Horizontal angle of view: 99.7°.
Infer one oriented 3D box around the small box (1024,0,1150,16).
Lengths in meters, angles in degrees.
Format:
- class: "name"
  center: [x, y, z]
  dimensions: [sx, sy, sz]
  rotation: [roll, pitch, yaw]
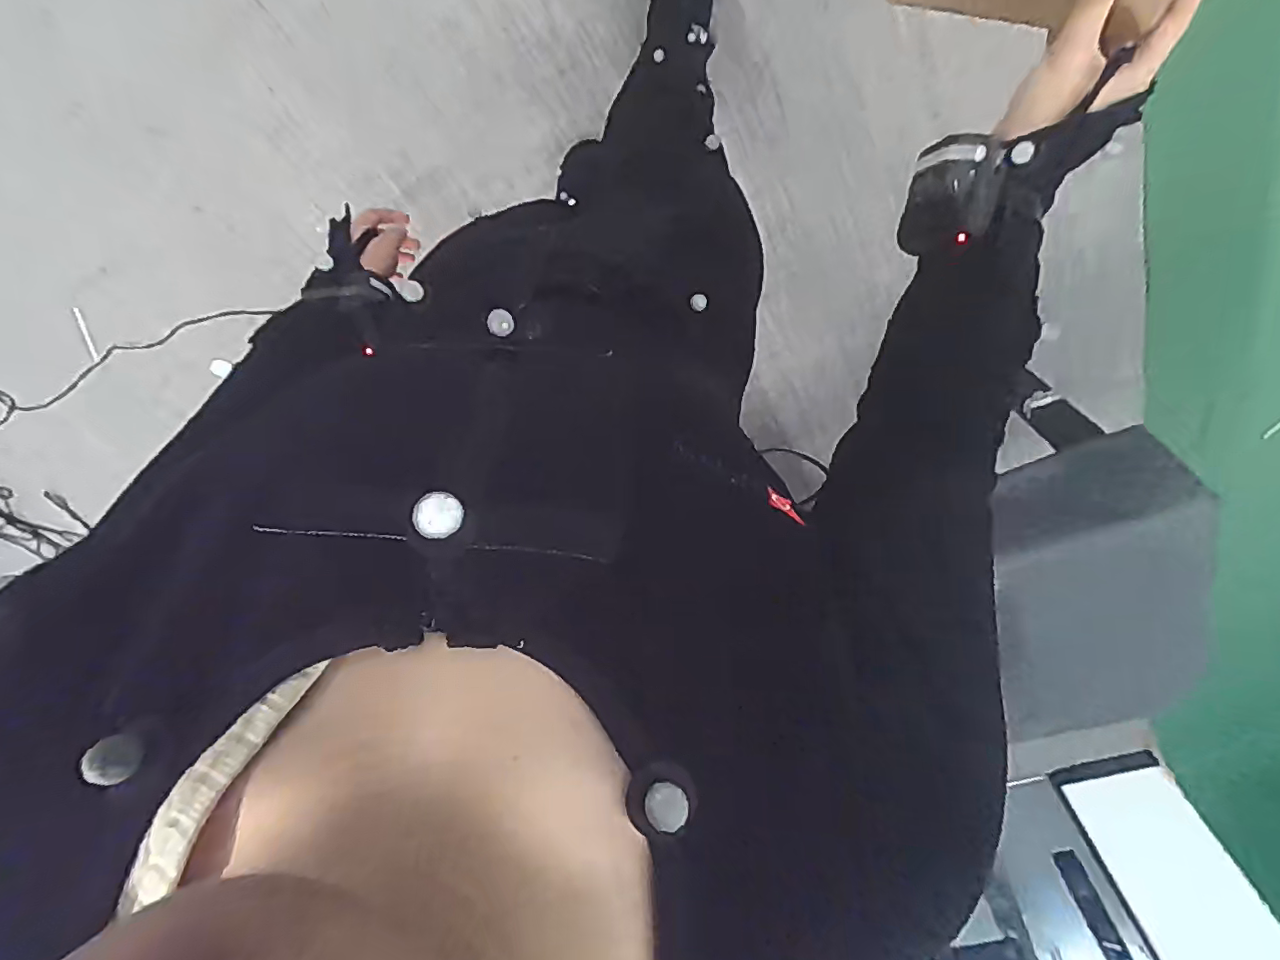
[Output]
- class: "small box"
  center: [0.271, -0.420, 0.306]
  dimensions: [0.176, 0.179, 0.168]
  rotation: [30, 168, 22]
